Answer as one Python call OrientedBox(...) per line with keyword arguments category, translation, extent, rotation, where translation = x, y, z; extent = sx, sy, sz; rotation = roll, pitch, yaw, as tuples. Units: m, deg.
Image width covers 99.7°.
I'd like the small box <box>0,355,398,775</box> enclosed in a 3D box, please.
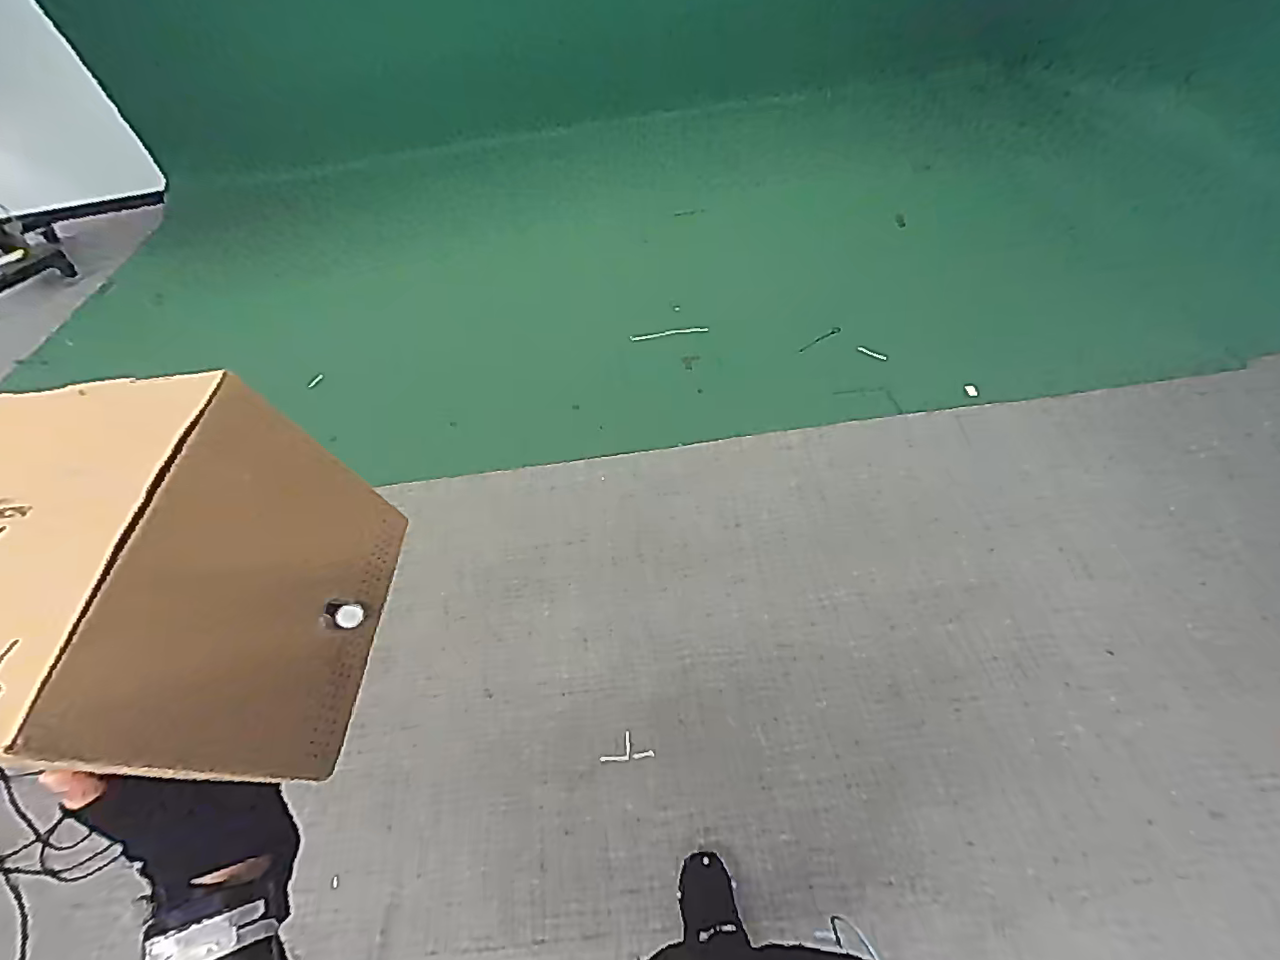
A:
OrientedBox(category="small box", translation=(-0.268, 0.057, 0.304), extent=(0.168, 0.176, 0.179), rotation=(-3, 58, 11))
